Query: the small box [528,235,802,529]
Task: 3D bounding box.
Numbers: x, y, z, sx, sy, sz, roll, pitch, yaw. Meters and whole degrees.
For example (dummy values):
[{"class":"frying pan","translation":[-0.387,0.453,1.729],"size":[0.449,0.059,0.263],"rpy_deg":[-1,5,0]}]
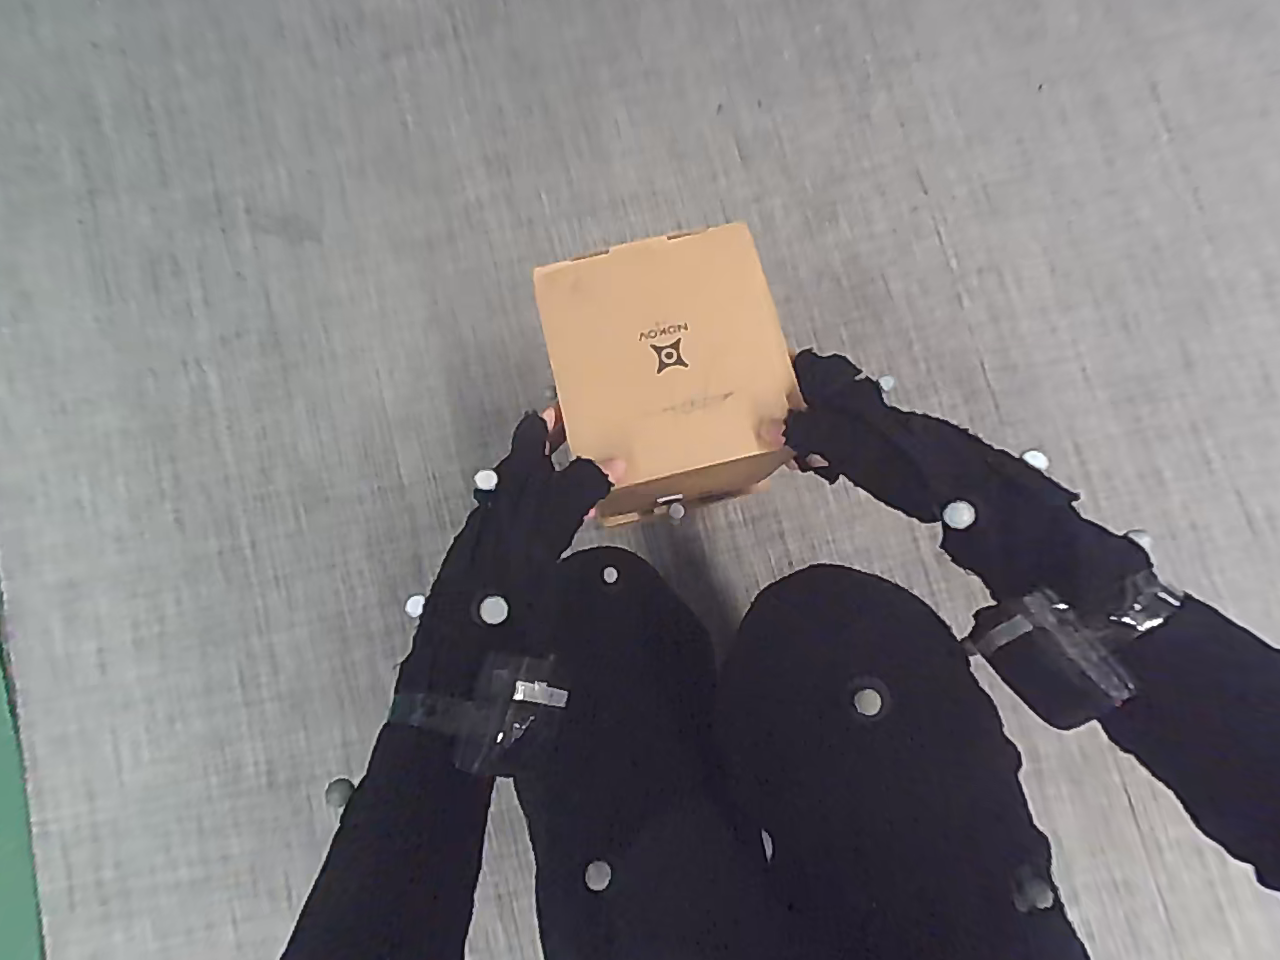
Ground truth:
[{"class":"small box","translation":[0.015,-0.066,0.458],"size":[0.168,0.176,0.179],"rpy_deg":[-13,79,-1]}]
